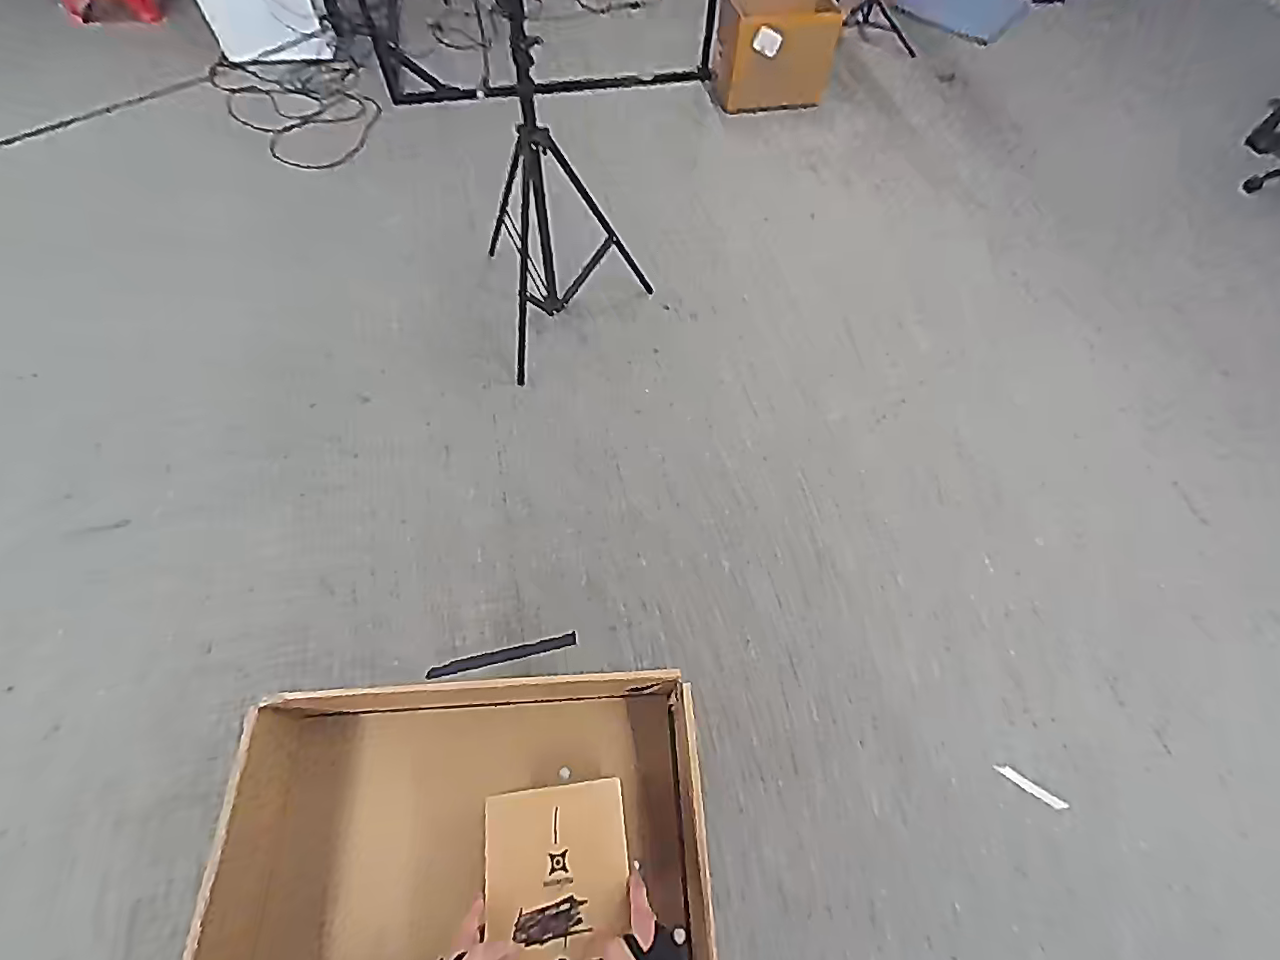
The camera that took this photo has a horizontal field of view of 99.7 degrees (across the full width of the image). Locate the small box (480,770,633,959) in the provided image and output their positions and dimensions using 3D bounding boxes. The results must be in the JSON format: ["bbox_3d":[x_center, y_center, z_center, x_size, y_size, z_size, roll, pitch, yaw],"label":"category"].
[{"bbox_3d":[-0.100,0.475,0.679,0.168,0.176,0.179,-5,63,-6],"label":"small box"}]
